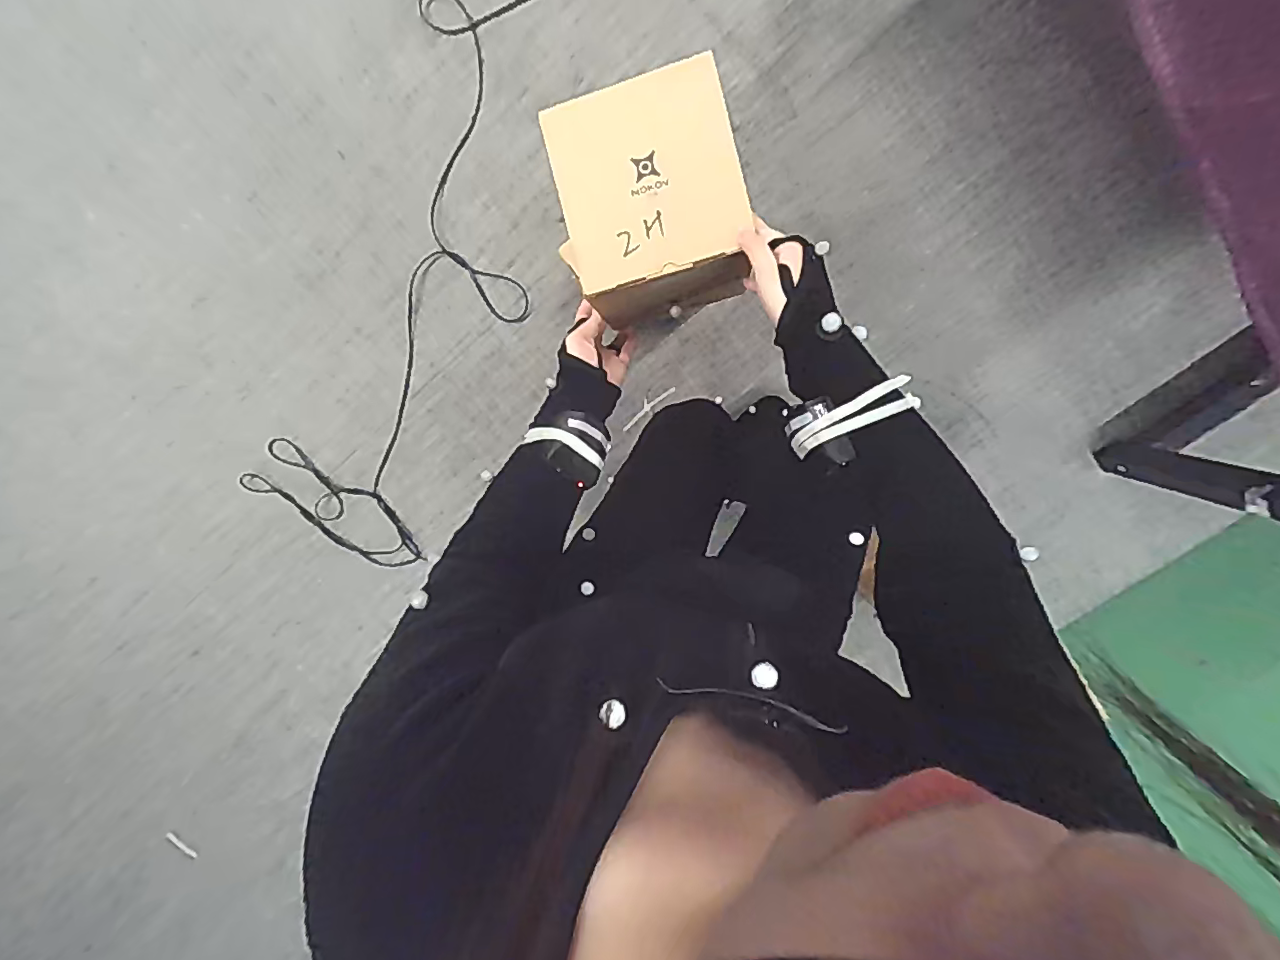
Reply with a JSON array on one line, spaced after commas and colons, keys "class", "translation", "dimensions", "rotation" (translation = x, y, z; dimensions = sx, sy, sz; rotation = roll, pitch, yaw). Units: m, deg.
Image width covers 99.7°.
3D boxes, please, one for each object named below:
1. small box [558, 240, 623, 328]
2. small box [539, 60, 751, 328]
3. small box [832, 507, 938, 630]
[{"class": "small box", "translation": [-0.023, -0.394, 0.992], "dimensions": [0.179, 0.176, 0.168], "rotation": [-35, 102, 9]}, {"class": "small box", "translation": [0.012, -0.282, 0.577], "dimensions": [0.168, 0.176, 0.179], "rotation": [-15, 93, 9]}, {"class": "small box", "translation": [0.533, 0.174, 1.133], "dimensions": [0.168, 0.176, 0.179], "rotation": [-34, 102, 9]}]
